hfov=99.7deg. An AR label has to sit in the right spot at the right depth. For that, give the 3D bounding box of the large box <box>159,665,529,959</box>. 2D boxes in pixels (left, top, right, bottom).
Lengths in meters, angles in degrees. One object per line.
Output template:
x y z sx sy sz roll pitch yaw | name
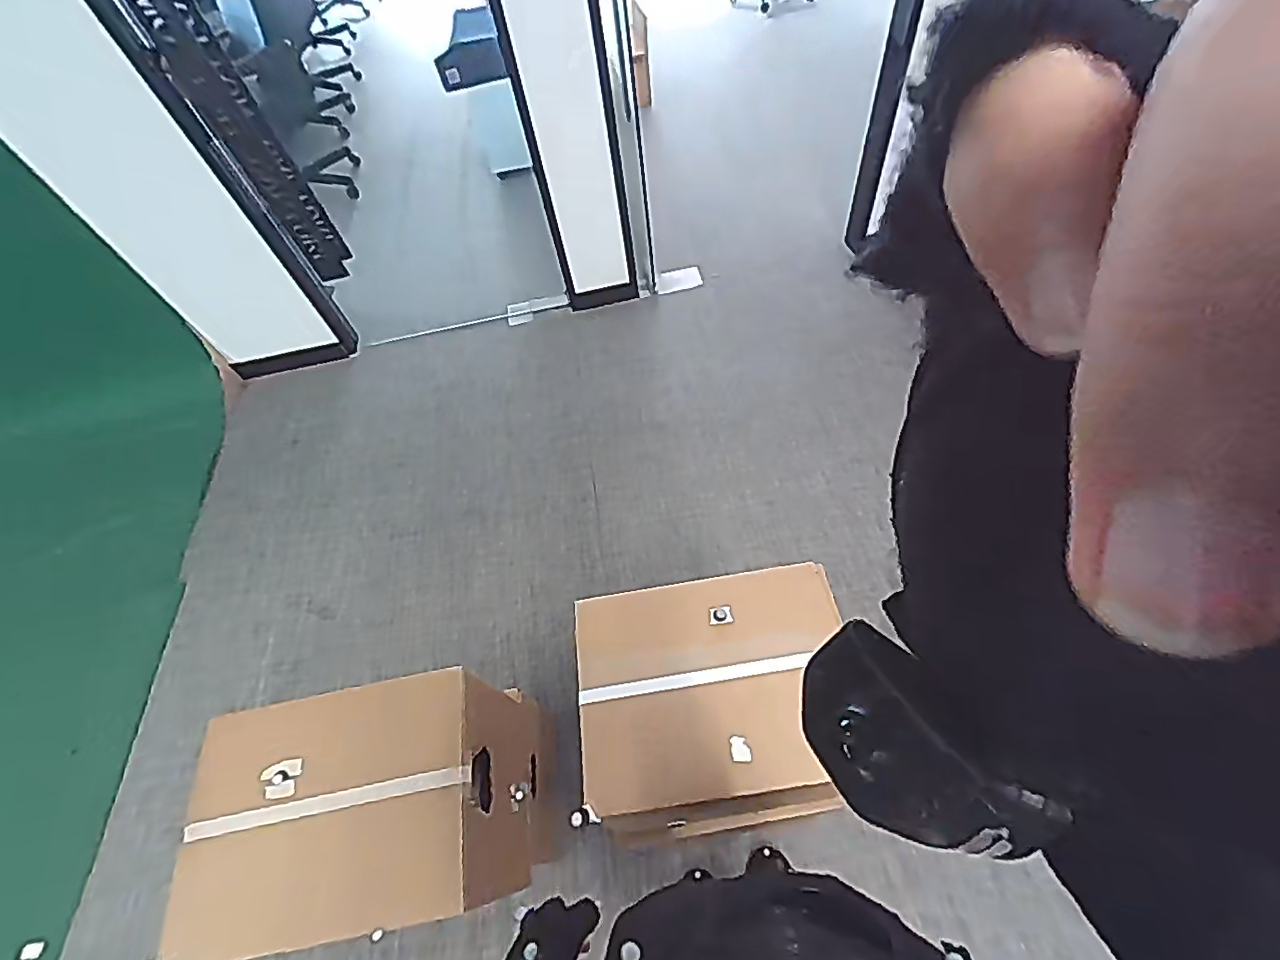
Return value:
-0.429 0.530 0.888 0.408 0.320 0.320 -12 58 1 | large box
